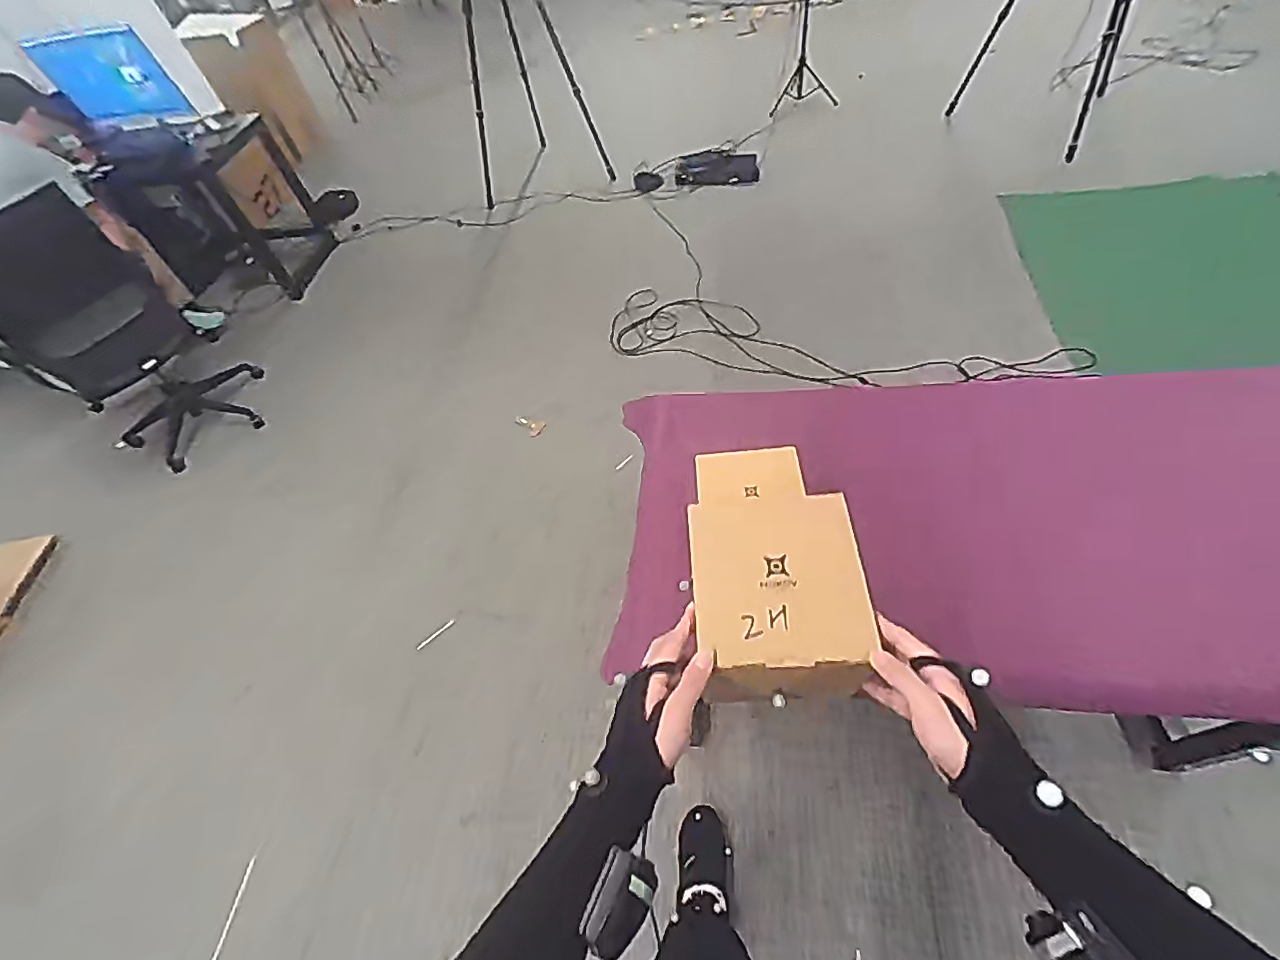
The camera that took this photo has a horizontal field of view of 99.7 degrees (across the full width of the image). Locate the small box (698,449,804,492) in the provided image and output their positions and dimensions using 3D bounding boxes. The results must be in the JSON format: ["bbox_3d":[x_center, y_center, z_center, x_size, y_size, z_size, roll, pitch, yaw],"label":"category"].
[{"bbox_3d":[0.184,0.071,0.901,0.168,0.176,0.179,-5,54,6],"label":"small box"}]

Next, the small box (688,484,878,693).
[{"bbox_3d":[0.141,0.124,0.596,0.168,0.176,0.179,-5,57,7],"label":"small box"}]
